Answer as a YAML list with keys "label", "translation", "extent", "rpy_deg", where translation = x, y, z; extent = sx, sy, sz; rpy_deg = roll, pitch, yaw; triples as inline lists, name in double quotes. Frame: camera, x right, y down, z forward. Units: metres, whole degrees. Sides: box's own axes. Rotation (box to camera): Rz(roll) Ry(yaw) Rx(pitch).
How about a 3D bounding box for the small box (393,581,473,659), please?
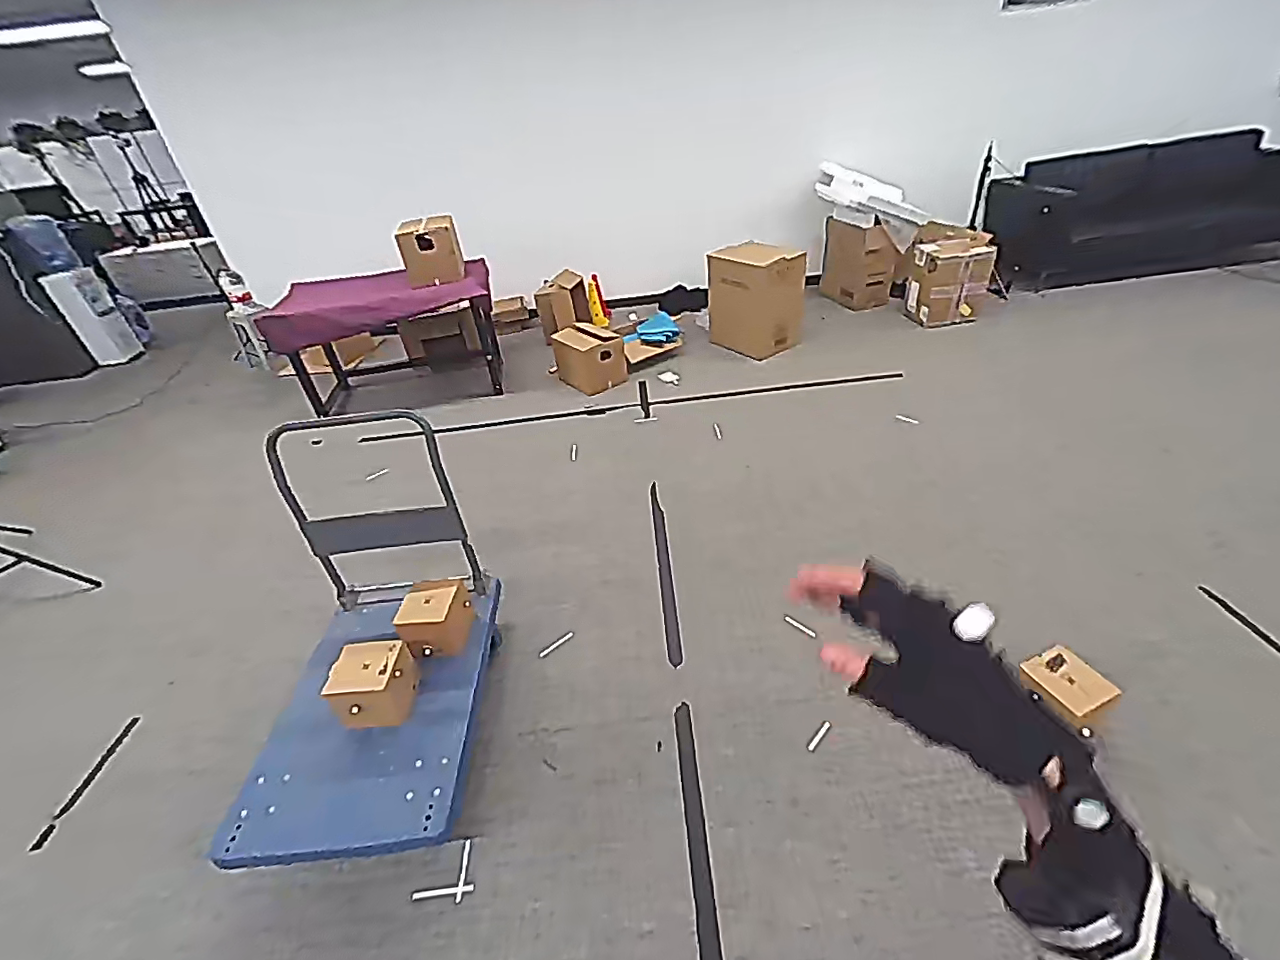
- label: "small box"
  translation: [-0.652, 0.448, 1.732]
  extent: [0.168, 0.176, 0.179]
  rpy_deg: [-5, 36, 5]

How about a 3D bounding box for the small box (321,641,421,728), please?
- label: "small box"
  translation: [-0.761, 0.588, 1.548]
  extent: [0.179, 0.176, 0.168]
  rpy_deg: [-6, 36, 2]

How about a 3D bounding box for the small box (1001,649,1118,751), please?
- label: "small box"
  translation: [1.167, 0.619, 1.521]
  extent: [0.168, 0.176, 0.179]
  rpy_deg: [-17, 37, -15]
